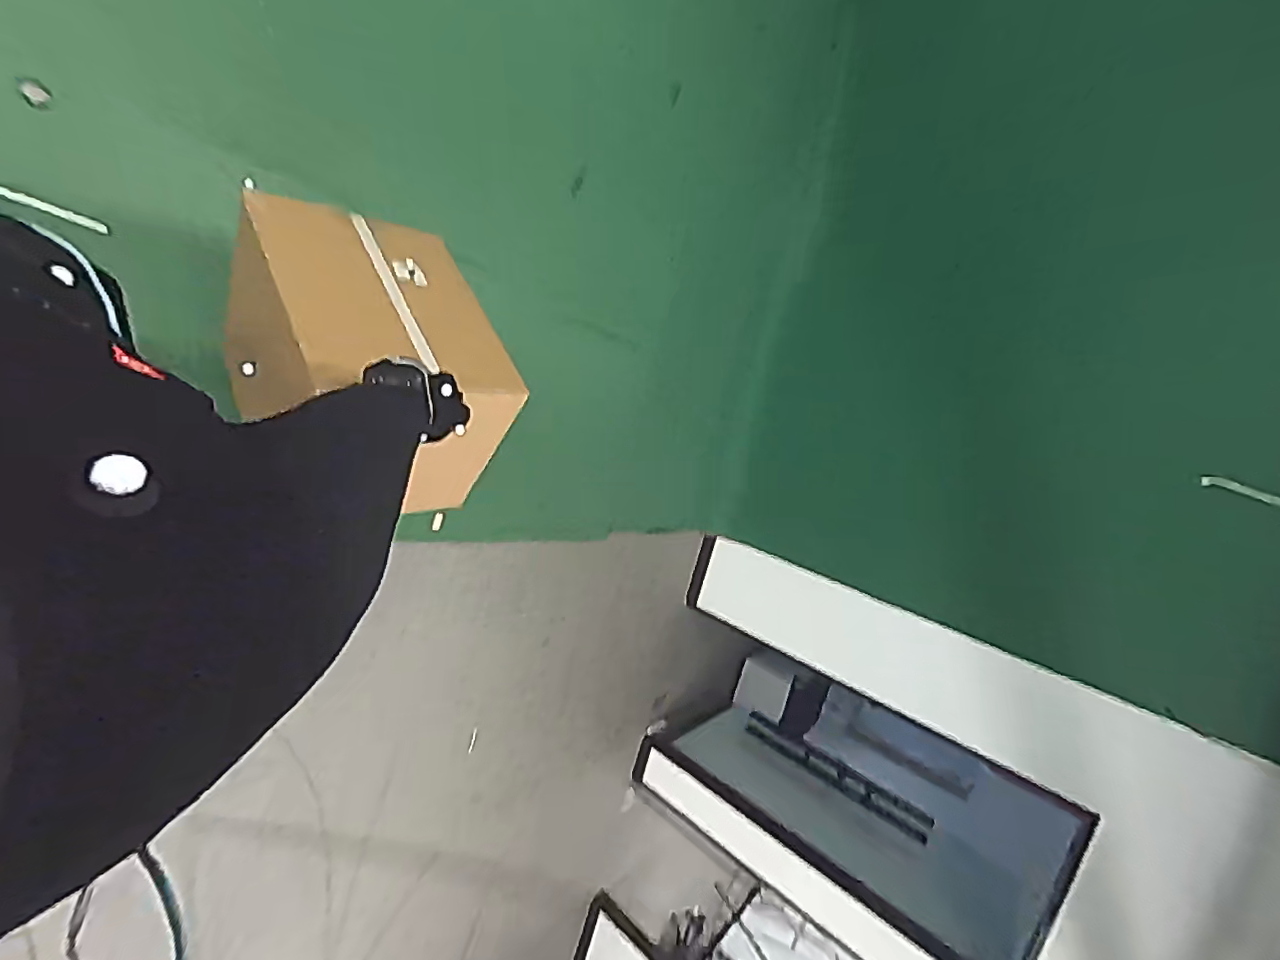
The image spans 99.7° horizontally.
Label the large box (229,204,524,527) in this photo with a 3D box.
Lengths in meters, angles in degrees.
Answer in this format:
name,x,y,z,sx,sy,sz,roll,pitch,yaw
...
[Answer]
name,x,y,z,sx,sy,sz,roll,pitch,yaw
large box,-0.469,-0.184,0.934,0.320,0.408,0.320,-7,147,-47
